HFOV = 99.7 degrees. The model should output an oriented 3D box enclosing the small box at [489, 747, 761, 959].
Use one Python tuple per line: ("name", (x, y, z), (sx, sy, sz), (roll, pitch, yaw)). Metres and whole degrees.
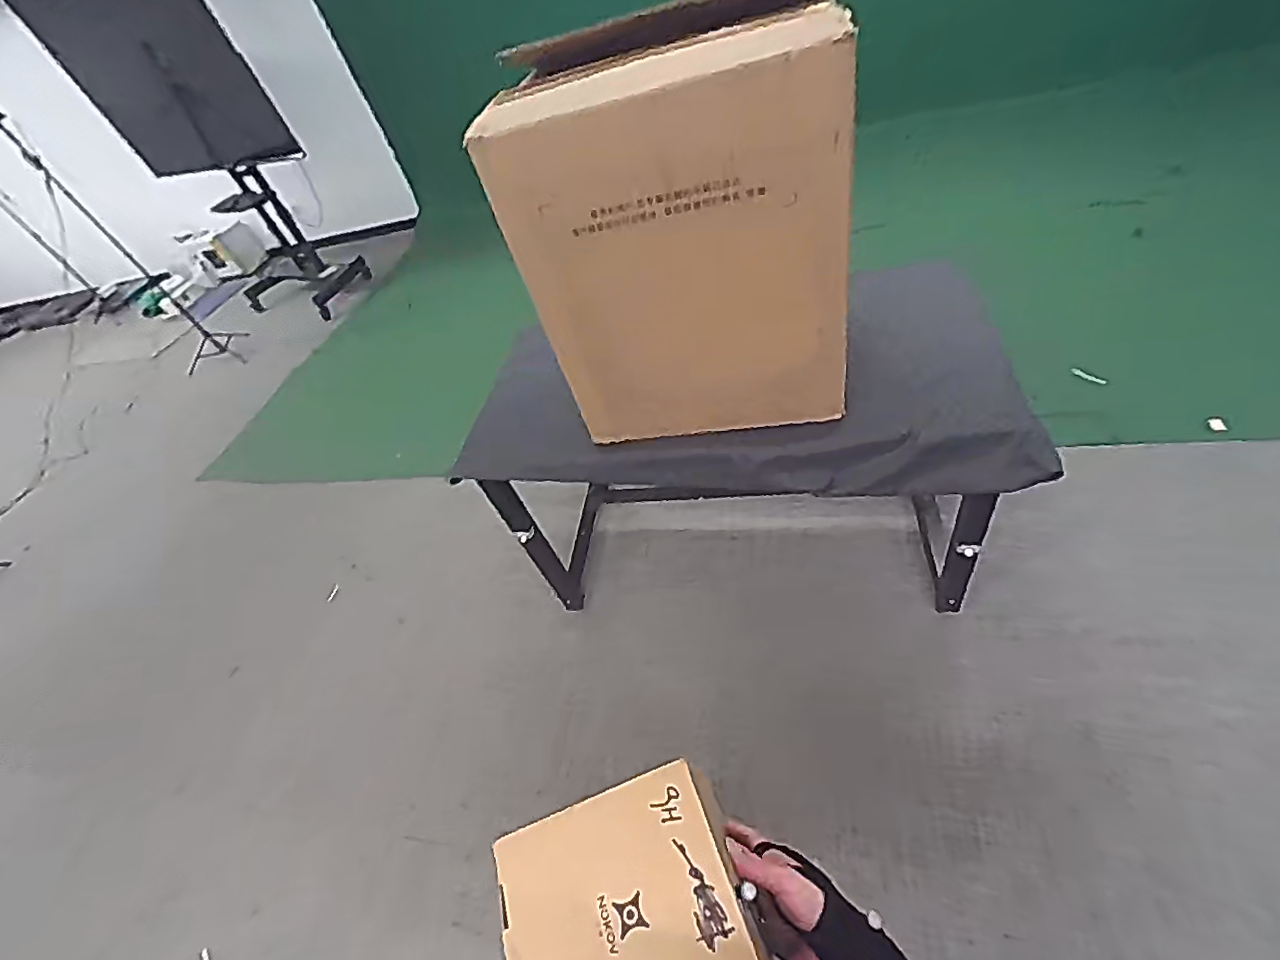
("small box", (-0.005, 0.358, 0.475), (0.179, 0.176, 0.168), (-22, 57, 0))
